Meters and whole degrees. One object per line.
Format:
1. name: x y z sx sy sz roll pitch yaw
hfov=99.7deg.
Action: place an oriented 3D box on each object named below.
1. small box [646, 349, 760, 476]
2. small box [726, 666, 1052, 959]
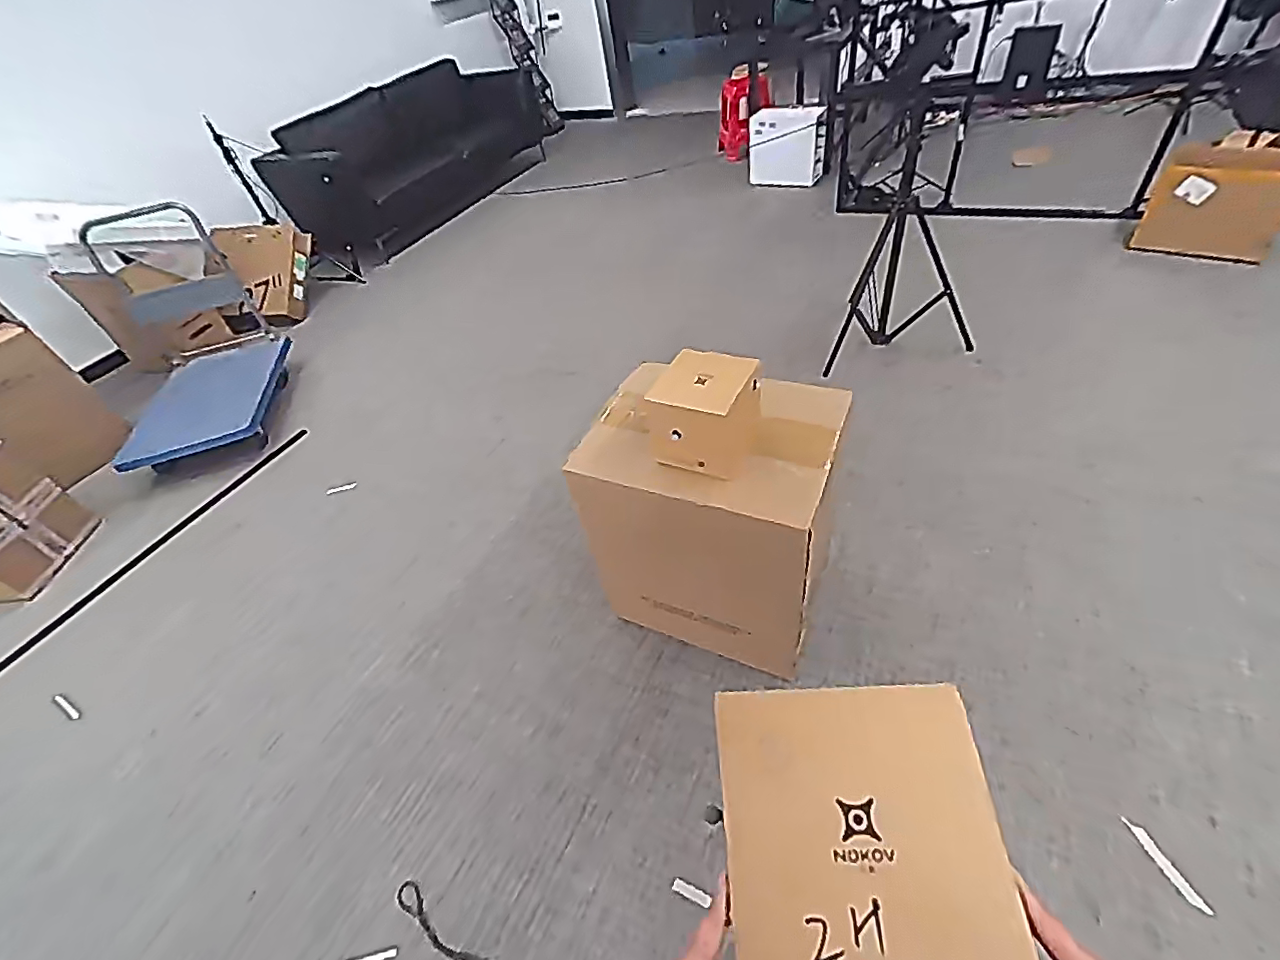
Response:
1. small box: 0.134 -0.132 1.065 0.168 0.176 0.179 15 50 26
2. small box: 0.152 0.247 0.400 0.168 0.176 0.179 -5 59 9
